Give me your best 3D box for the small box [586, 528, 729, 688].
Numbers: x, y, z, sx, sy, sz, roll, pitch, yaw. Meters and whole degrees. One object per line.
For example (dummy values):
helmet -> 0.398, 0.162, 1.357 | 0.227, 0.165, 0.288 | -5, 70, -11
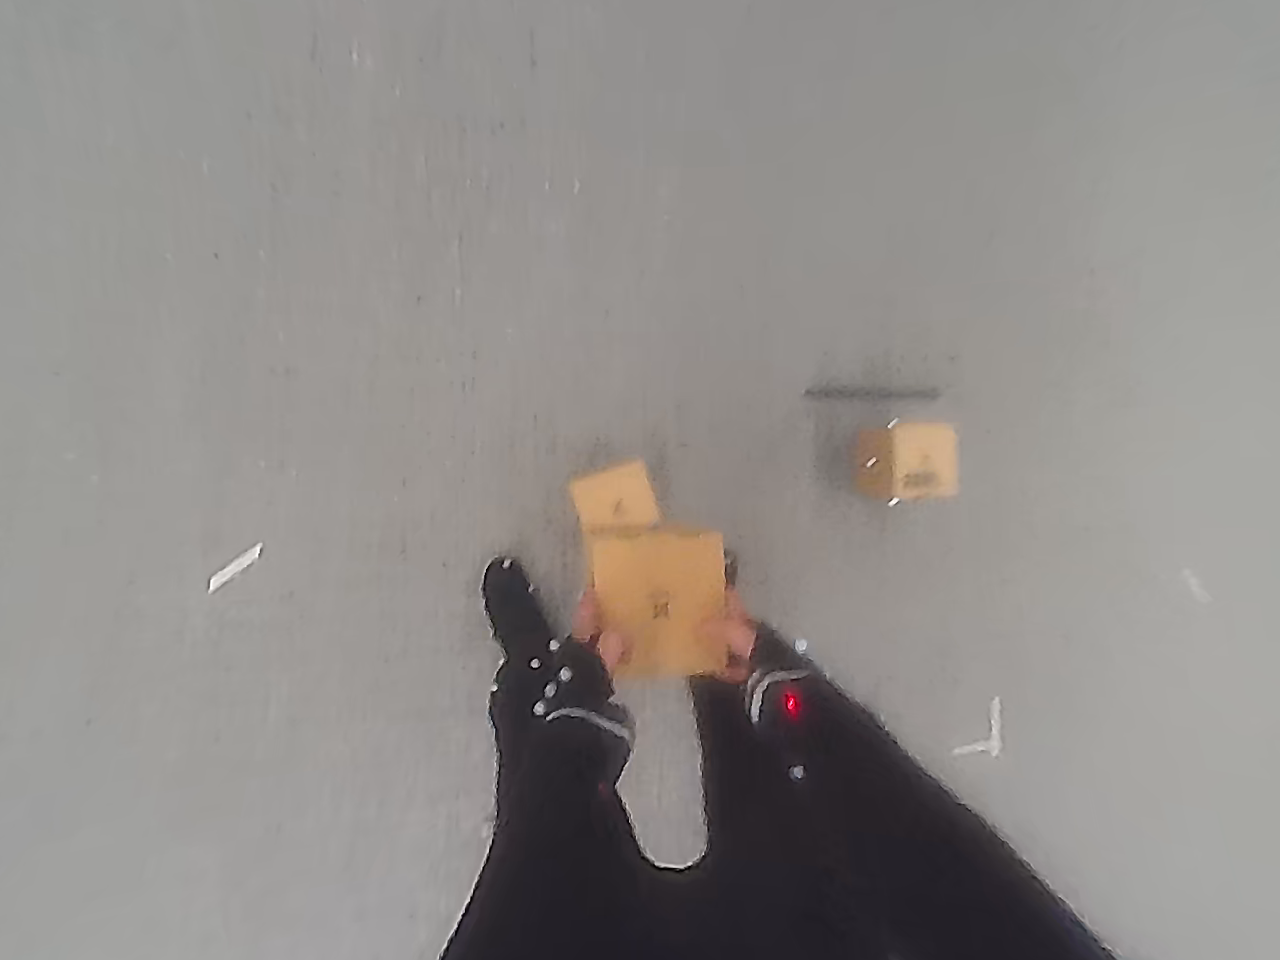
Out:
small box -> 0.015, 0.163, 0.744 | 0.168, 0.176, 0.179 | -3, 88, -9

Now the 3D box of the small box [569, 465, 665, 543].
small box -> -0.054, 0.074, 1.207 | 0.168, 0.176, 0.179 | -19, 96, -9
